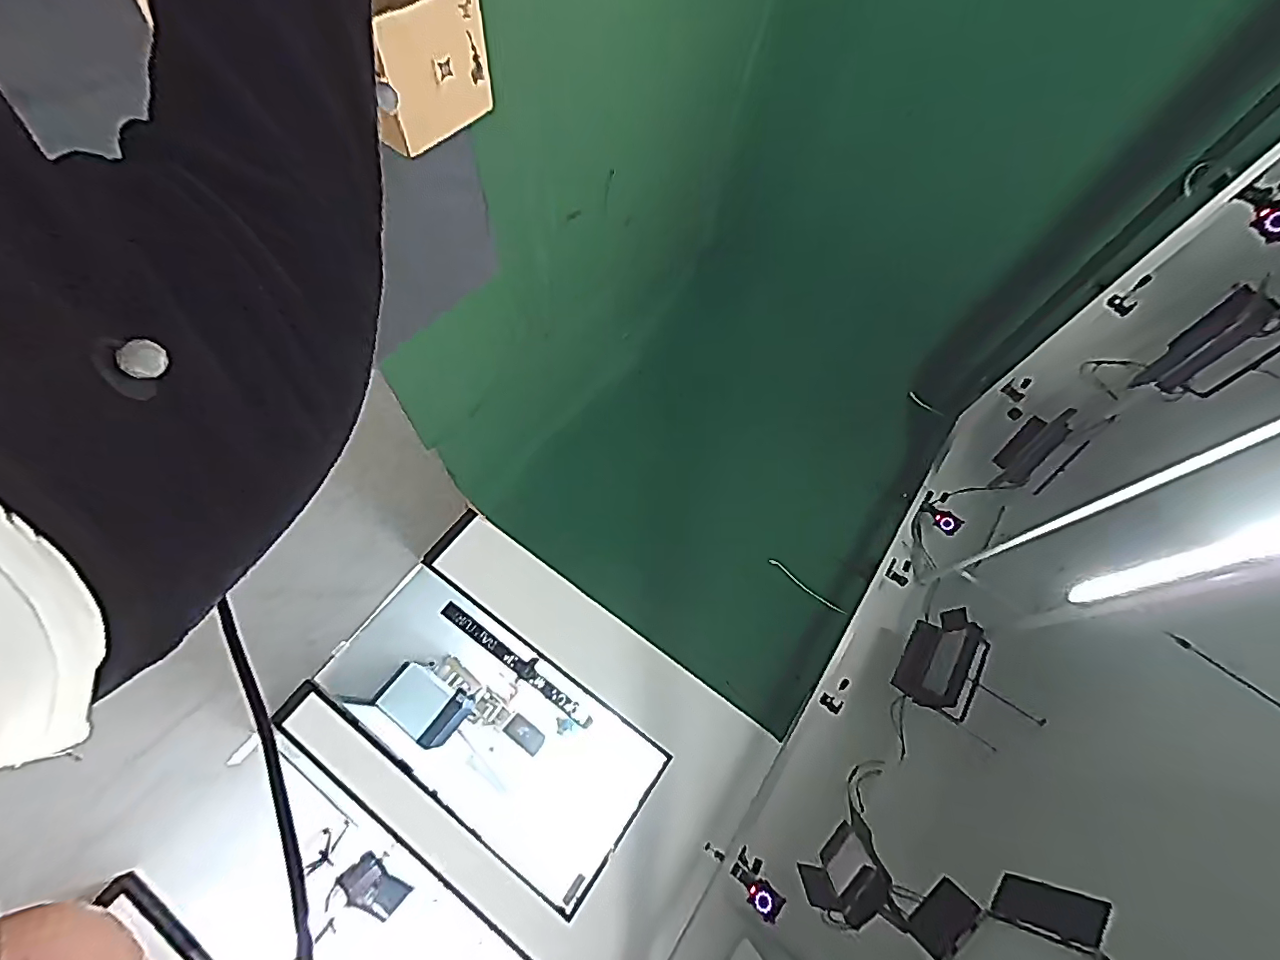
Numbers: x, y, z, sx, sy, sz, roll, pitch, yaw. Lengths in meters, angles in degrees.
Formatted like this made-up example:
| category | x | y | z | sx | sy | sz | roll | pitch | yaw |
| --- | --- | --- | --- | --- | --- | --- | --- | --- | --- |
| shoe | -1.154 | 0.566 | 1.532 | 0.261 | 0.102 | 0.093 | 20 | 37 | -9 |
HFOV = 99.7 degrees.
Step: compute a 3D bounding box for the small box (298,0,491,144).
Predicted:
| category | x | y | z | sx | sy | sz | roll | pitch | yaw |
| --- | --- | --- | --- | --- | --- | --- | --- | --- | --- |
| small box | -0.335 | -0.610 | 0.740 | 0.179 | 0.176 | 0.168 | -48 | 169 | -25 |
